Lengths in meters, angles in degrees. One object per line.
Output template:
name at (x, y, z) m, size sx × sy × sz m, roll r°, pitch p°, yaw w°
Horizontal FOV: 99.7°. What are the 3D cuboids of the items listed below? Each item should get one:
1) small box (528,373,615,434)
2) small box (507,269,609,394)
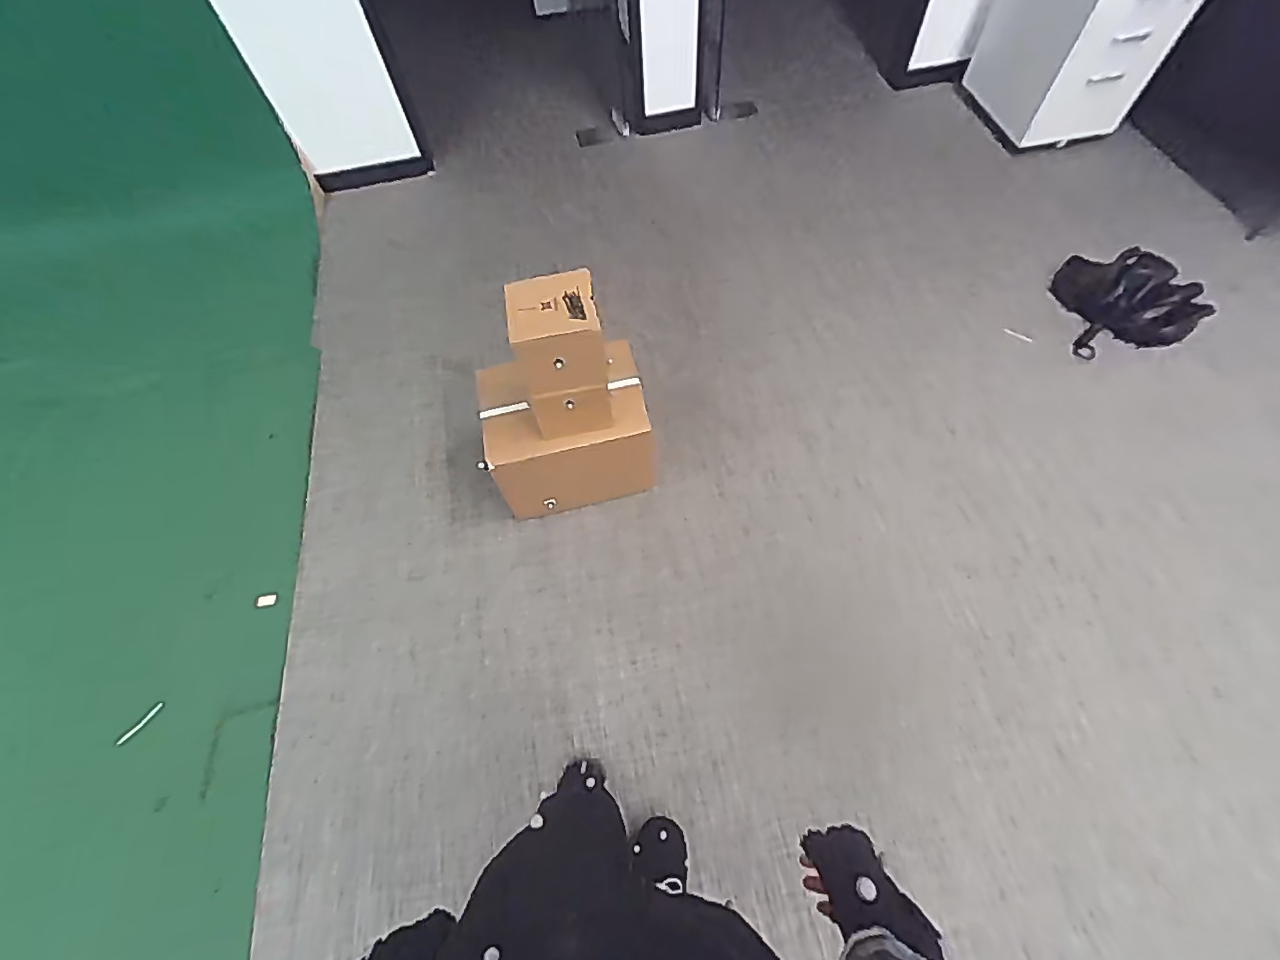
small box at (-0.162, -0.226, 1.269) m, size 0.179 × 0.176 × 0.168 m, roll -11°, pitch 63°, yaw -4°
small box at (-0.163, -0.304, 1.125) m, size 0.179 × 0.176 × 0.168 m, roll -12°, pitch 63°, yaw -4°
